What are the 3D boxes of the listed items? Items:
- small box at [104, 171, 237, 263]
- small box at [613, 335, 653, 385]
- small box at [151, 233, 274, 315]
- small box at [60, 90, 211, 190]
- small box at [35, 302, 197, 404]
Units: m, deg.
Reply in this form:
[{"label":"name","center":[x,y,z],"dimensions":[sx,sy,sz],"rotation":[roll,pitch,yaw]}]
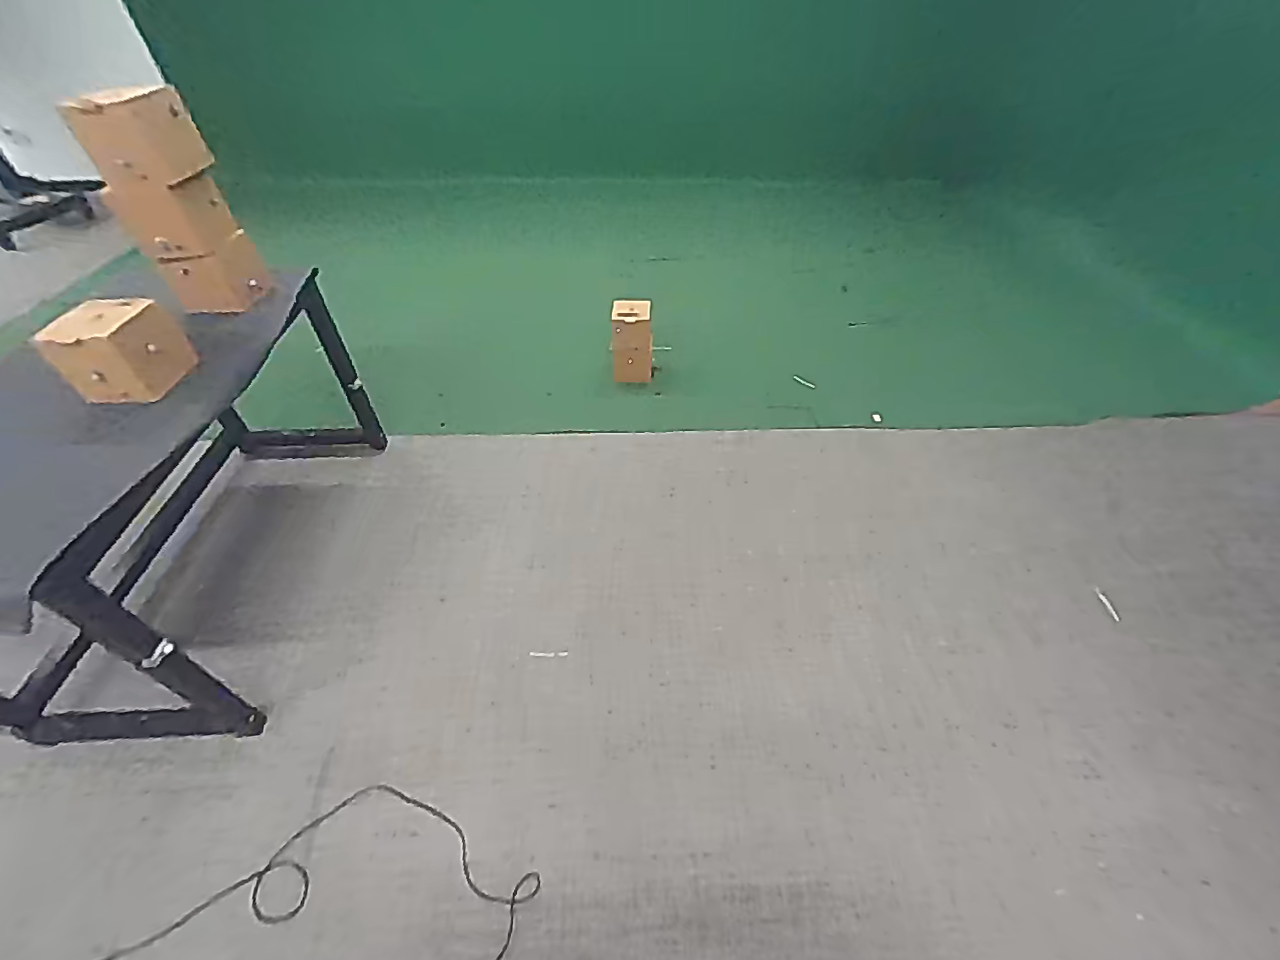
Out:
[{"label":"small box","center":[-1.194,-0.683,1.397],"dimensions":[0.168,0.176,0.179],"rotation":[-5,47,0]},{"label":"small box","center":[-0.033,-0.559,2.536],"dimensions":[0.179,0.176,0.168],"rotation":[2,46,2]},{"label":"small box","center":[-1.189,-0.578,1.521],"dimensions":[0.179,0.176,0.168],"rotation":[2,46,4]},{"label":"small box","center":[-1.180,-0.808,1.288],"dimensions":[0.168,0.176,0.179],"rotation":[-2,46,3]},{"label":"small box","center":[-1.179,-0.288,1.239],"dimensions":[0.168,0.176,0.179],"rotation":[-1,46,1]}]
